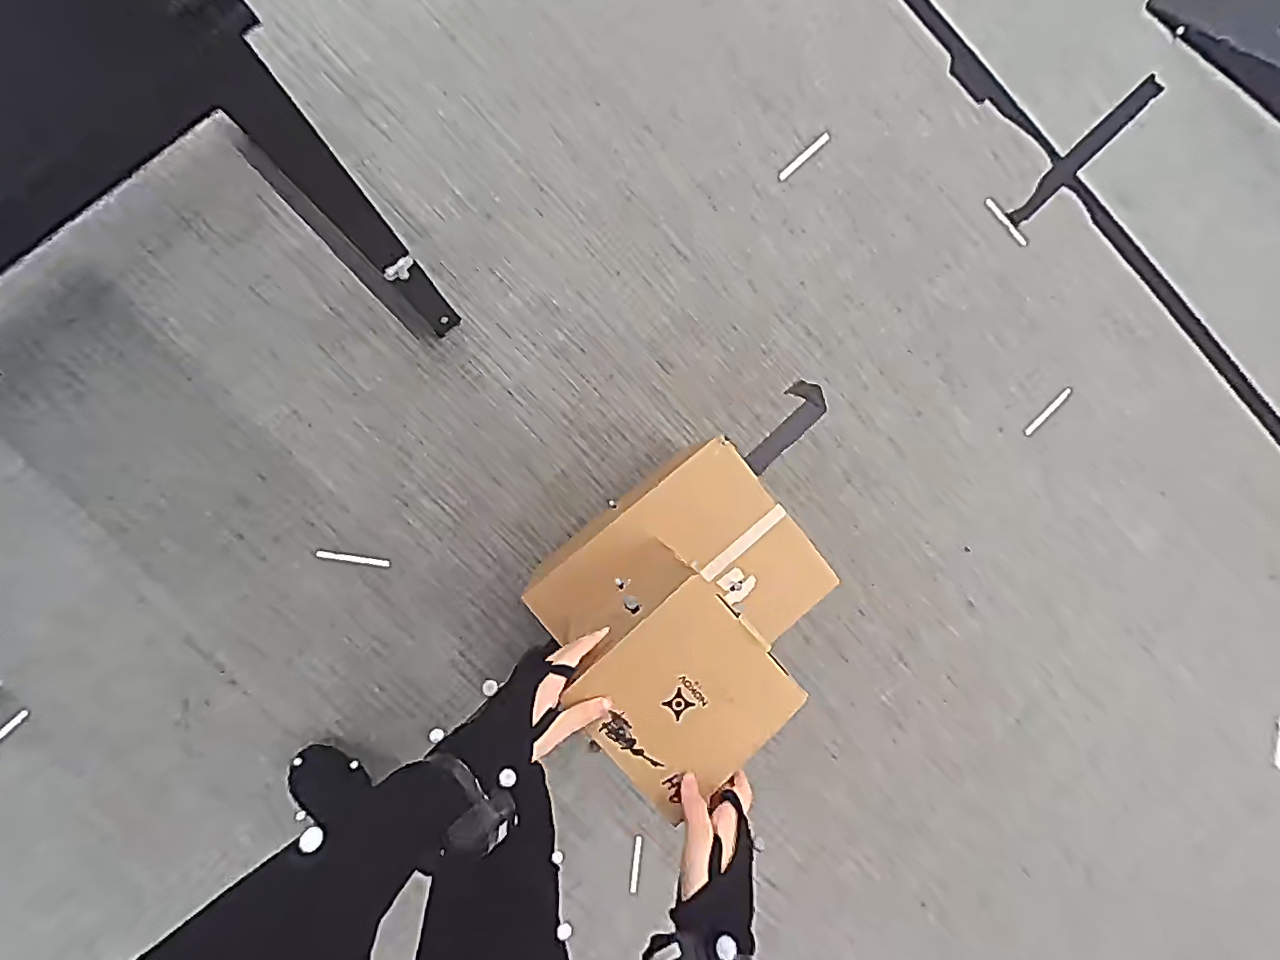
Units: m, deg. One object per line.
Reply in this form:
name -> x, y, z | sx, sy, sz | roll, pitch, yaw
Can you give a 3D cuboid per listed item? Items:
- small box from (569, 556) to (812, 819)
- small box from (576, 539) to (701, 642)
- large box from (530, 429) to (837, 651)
small box -> 0.041, 0.198, 0.579 | 0.179, 0.176, 0.168 | -41, 91, -6
small box -> 0.028, 0.197, 0.742 | 0.179, 0.176, 0.168 | -39, 92, -4
large box -> 0.058, 0.164, 0.992 | 0.408, 0.320, 0.320 | -40, 94, -6
